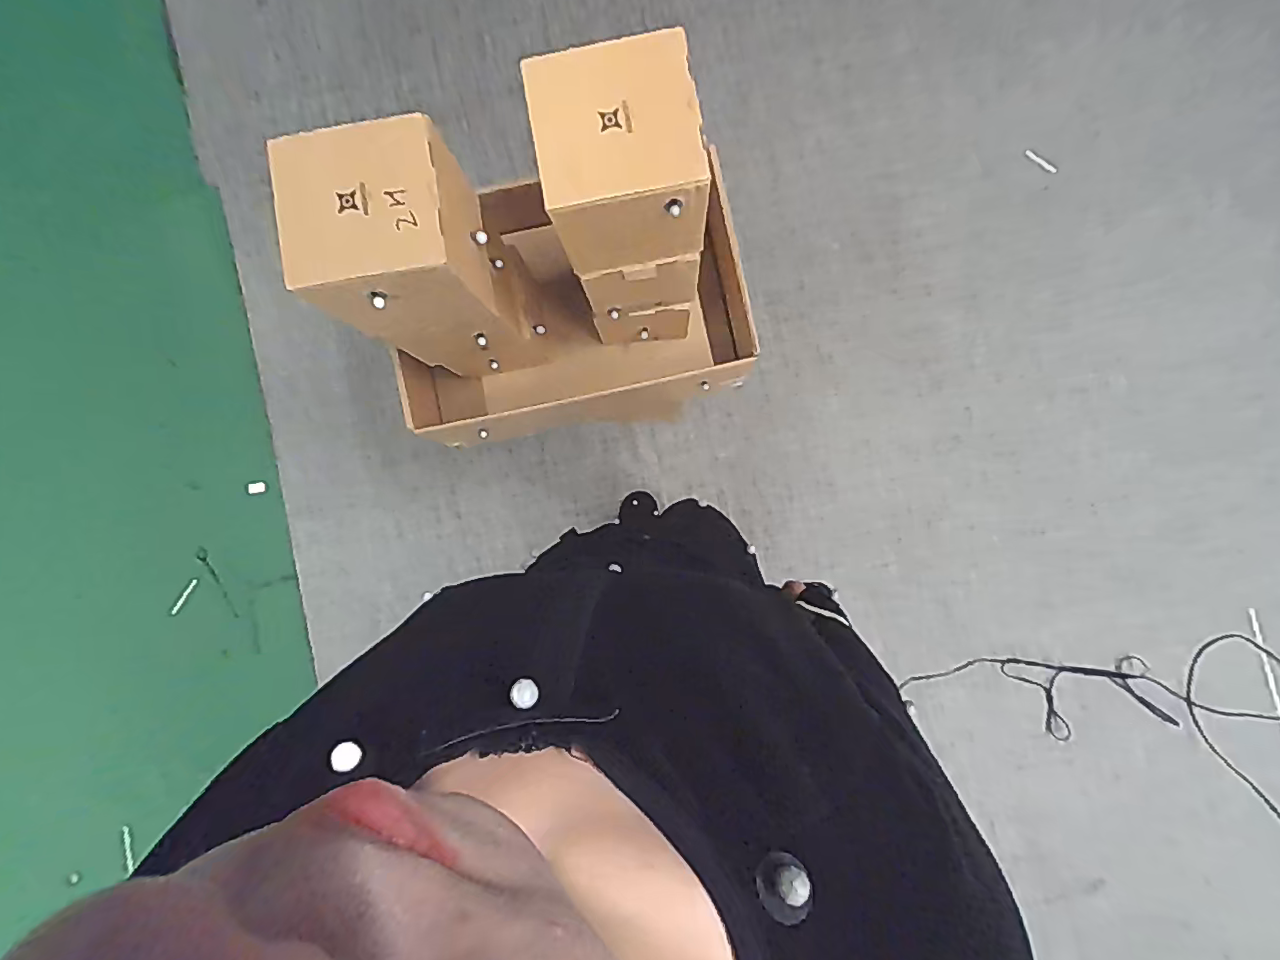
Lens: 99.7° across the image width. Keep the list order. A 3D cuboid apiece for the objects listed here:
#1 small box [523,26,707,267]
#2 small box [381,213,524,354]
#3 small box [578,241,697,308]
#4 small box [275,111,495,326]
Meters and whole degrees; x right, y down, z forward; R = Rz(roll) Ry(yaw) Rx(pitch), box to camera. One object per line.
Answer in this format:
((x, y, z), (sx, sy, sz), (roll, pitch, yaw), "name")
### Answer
((-0.022, -0.375, 0.642), (0.179, 0.176, 0.168), (-9, 88, 3), "small box")
((-0.285, -0.300, 0.818), (0.168, 0.176, 0.179), (-11, 87, 2), "small box")
((-0.008, -0.369, 0.804), (0.168, 0.176, 0.179), (-8, 87, 3), "small box")
((-0.294, -0.297, 0.654), (0.179, 0.176, 0.168), (-8, 88, 2), "small box")
